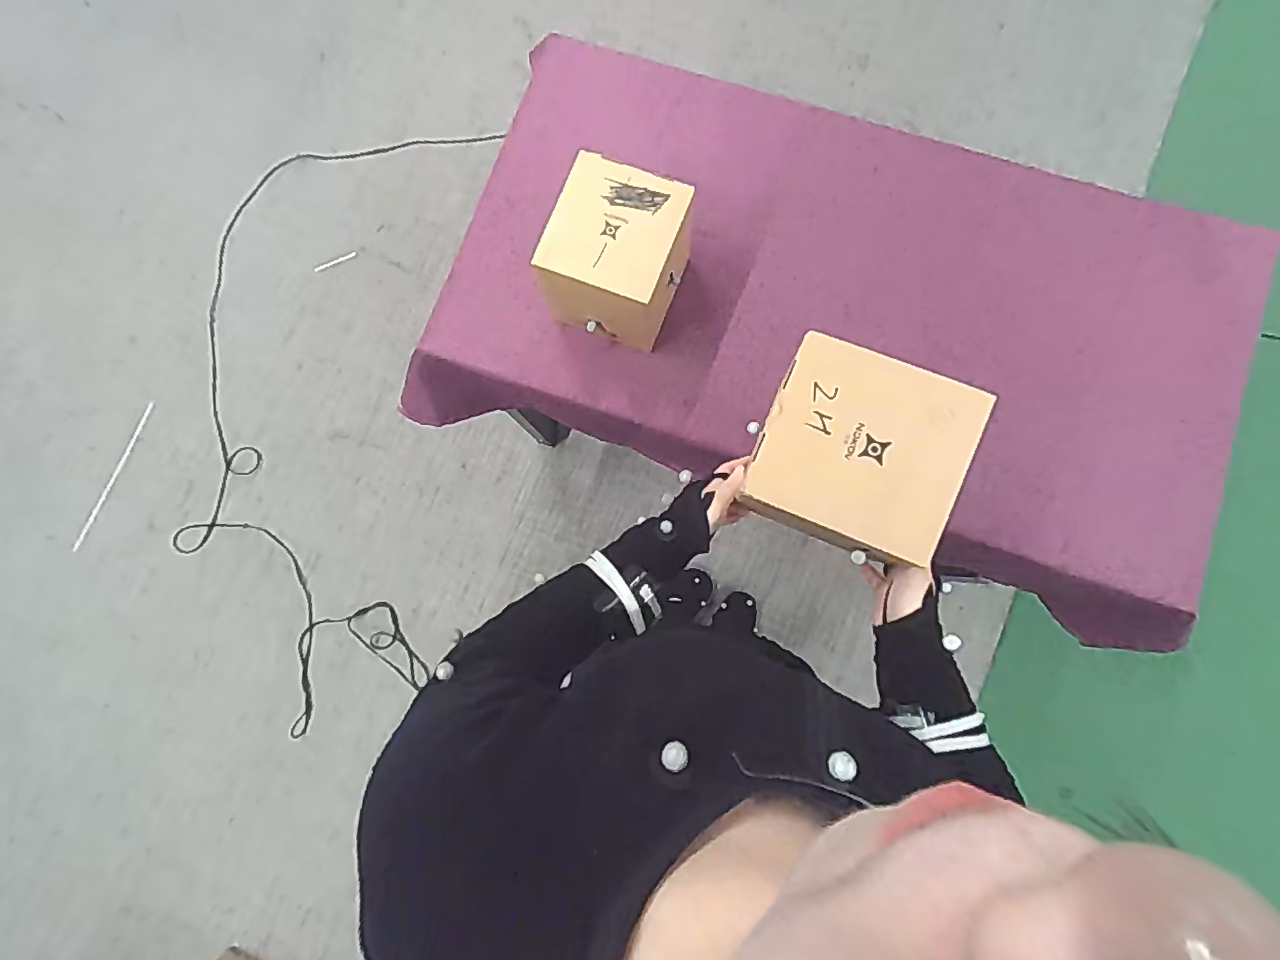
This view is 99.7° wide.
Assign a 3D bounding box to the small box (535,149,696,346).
[{"bbox_3d":[-0.030,-0.323,0.782,0.168,0.176,0.179,20,84,5],"label":"small box"}]

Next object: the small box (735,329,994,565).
[{"bbox_3d":[0.210,-0.028,0.561,0.179,0.176,0.168,23,88,9],"label":"small box"}]
